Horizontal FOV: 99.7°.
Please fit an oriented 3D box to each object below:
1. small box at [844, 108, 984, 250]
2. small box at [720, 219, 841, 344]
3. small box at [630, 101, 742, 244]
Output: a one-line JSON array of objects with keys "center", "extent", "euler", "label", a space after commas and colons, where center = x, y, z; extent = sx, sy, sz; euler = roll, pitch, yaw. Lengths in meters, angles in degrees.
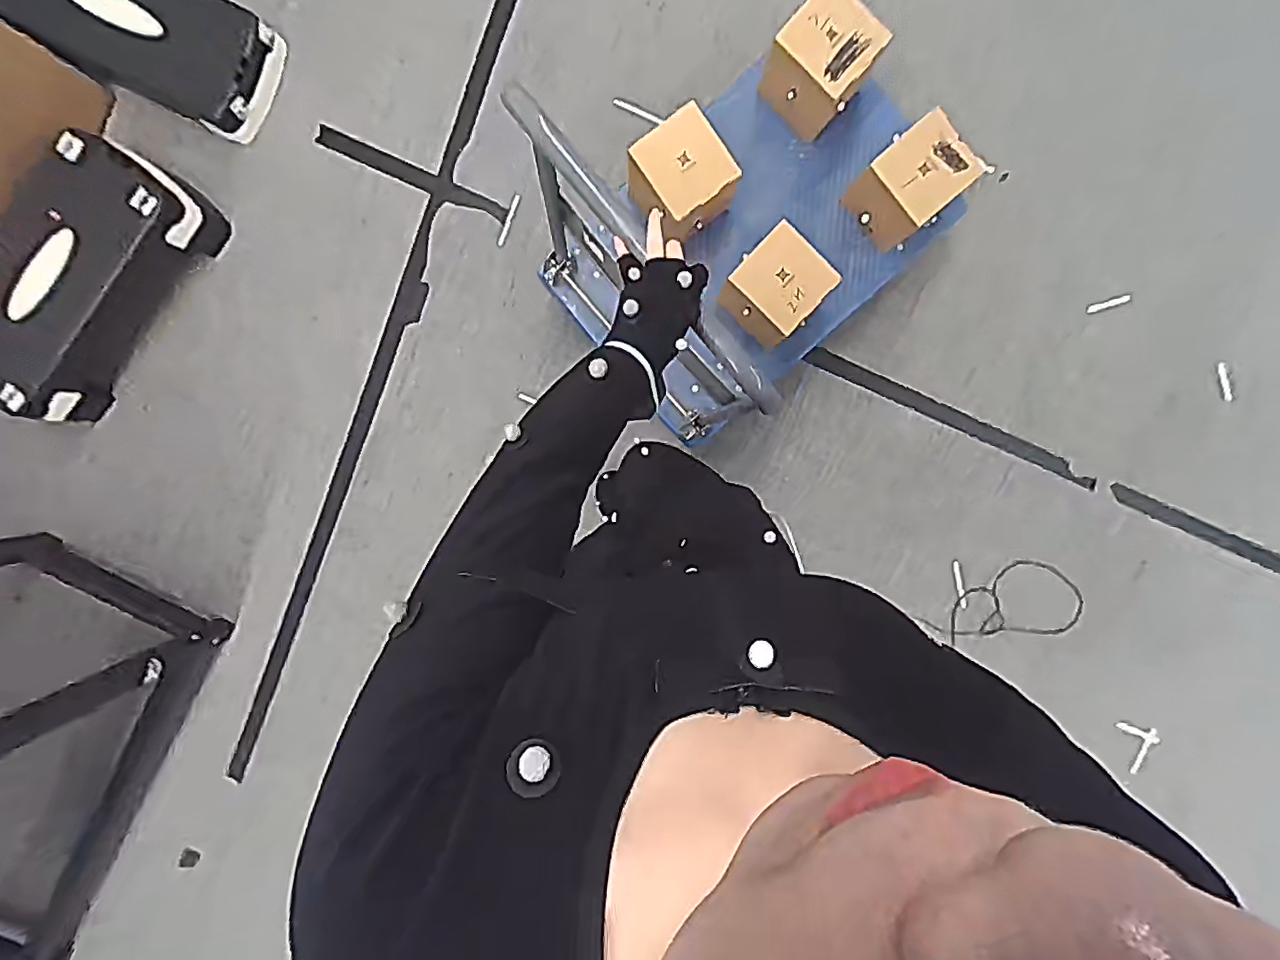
[{"center": [0.582, -0.640, 1.171], "extent": [0.179, 0.176, 0.168], "euler": [-40, 94, 4], "label": "small box"}, {"center": [0.296, -0.421, 1.186], "extent": [0.179, 0.176, 0.168], "euler": [44, 93, -4], "label": "small box"}, {"center": [0.090, -0.649, 1.164], "extent": [0.168, 0.176, 0.179], "euler": [-36, 96, 2], "label": "small box"}]
